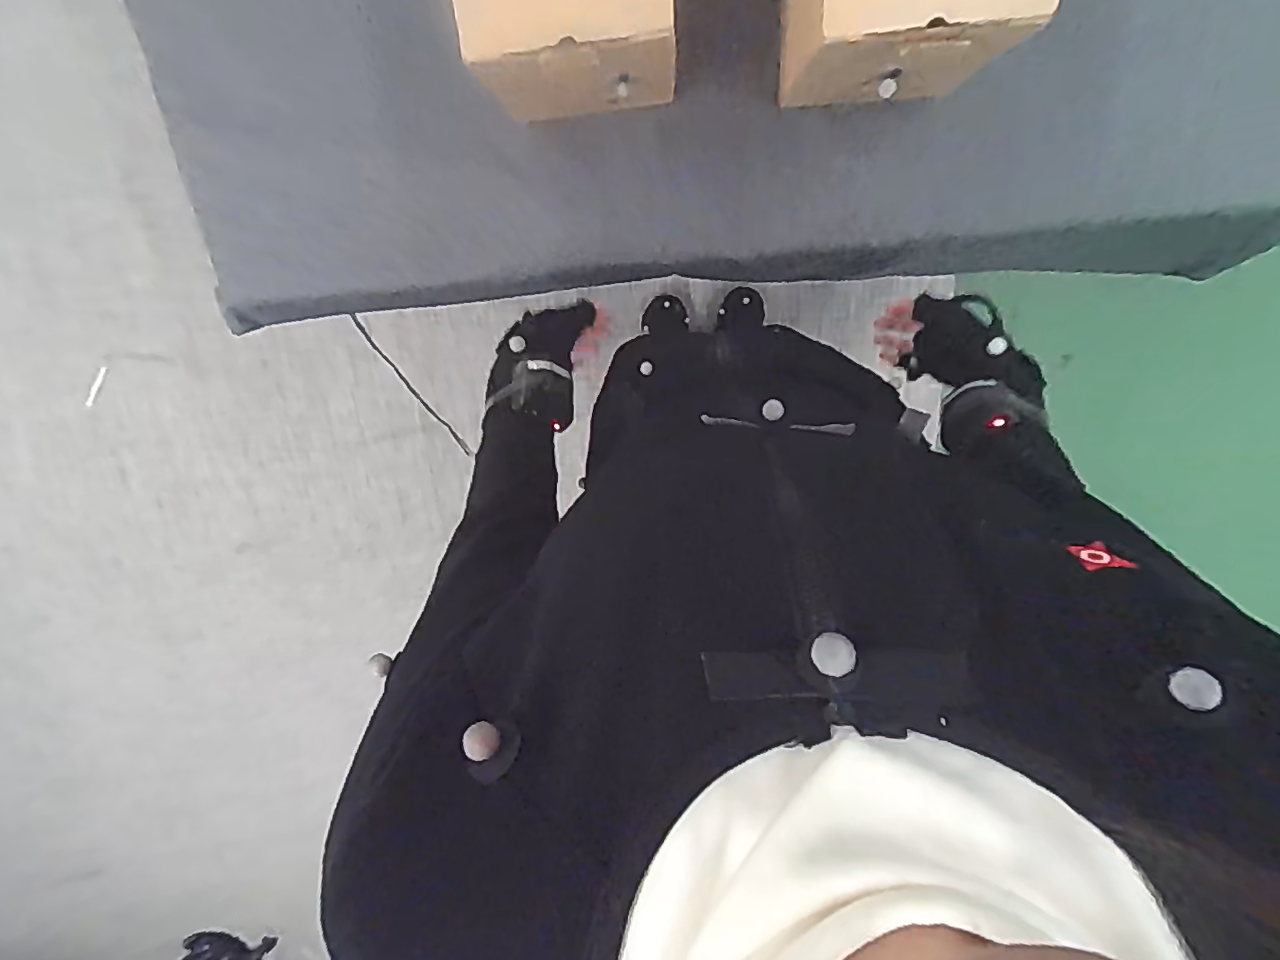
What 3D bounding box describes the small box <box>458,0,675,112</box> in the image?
[{"bbox_3d":[-0.058,-0.439,0.460,0.168,0.176,0.179,-6,108,4],"label":"small box"}]
